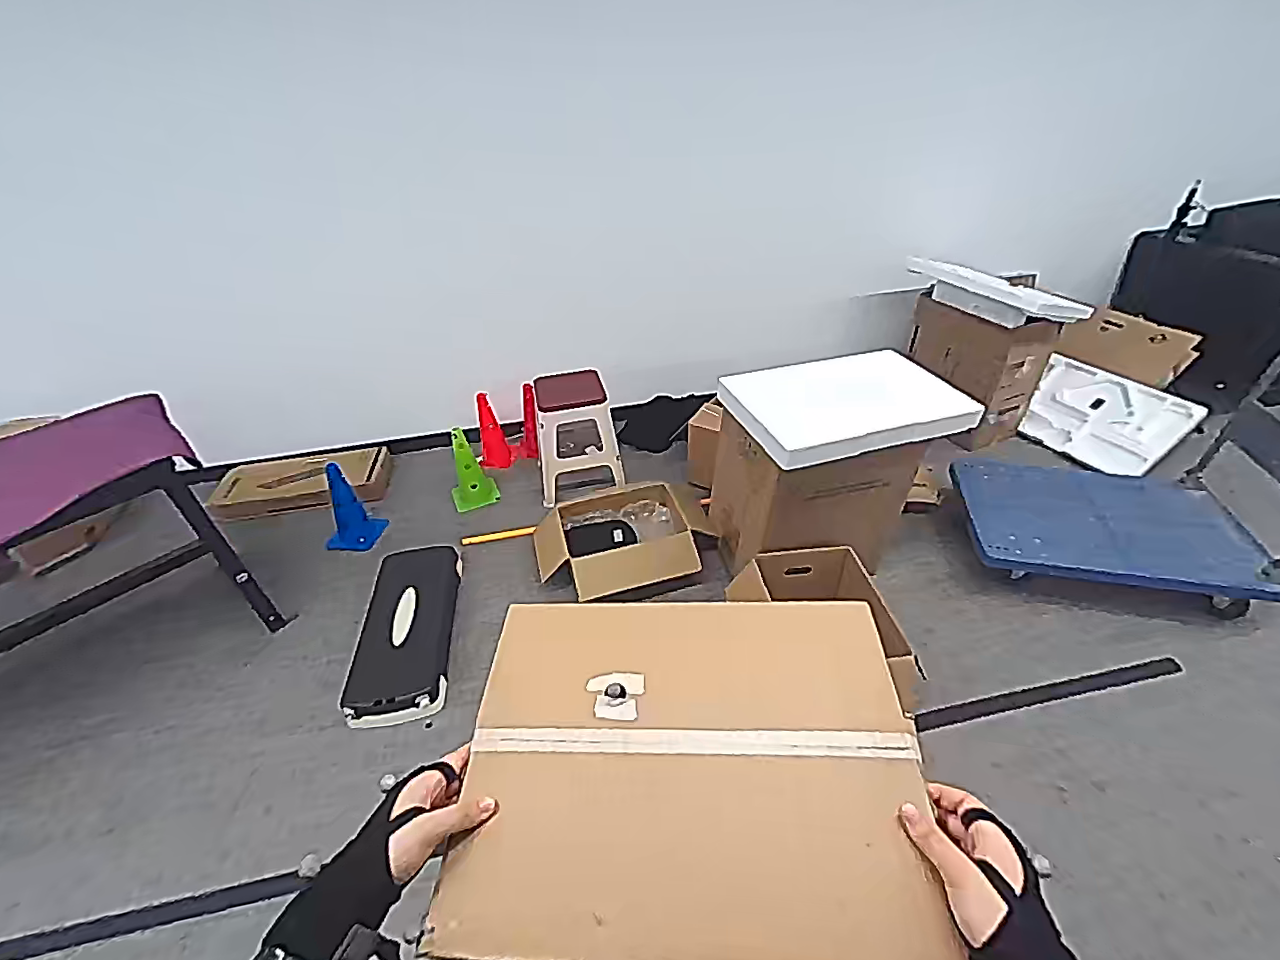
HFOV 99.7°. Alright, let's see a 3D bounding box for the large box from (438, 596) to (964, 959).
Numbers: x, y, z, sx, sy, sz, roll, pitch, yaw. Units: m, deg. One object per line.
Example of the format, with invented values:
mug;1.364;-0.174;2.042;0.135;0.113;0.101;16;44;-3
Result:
large box;0.061;0.354;0.611;0.408;0.320;0.320;-3;42;7
